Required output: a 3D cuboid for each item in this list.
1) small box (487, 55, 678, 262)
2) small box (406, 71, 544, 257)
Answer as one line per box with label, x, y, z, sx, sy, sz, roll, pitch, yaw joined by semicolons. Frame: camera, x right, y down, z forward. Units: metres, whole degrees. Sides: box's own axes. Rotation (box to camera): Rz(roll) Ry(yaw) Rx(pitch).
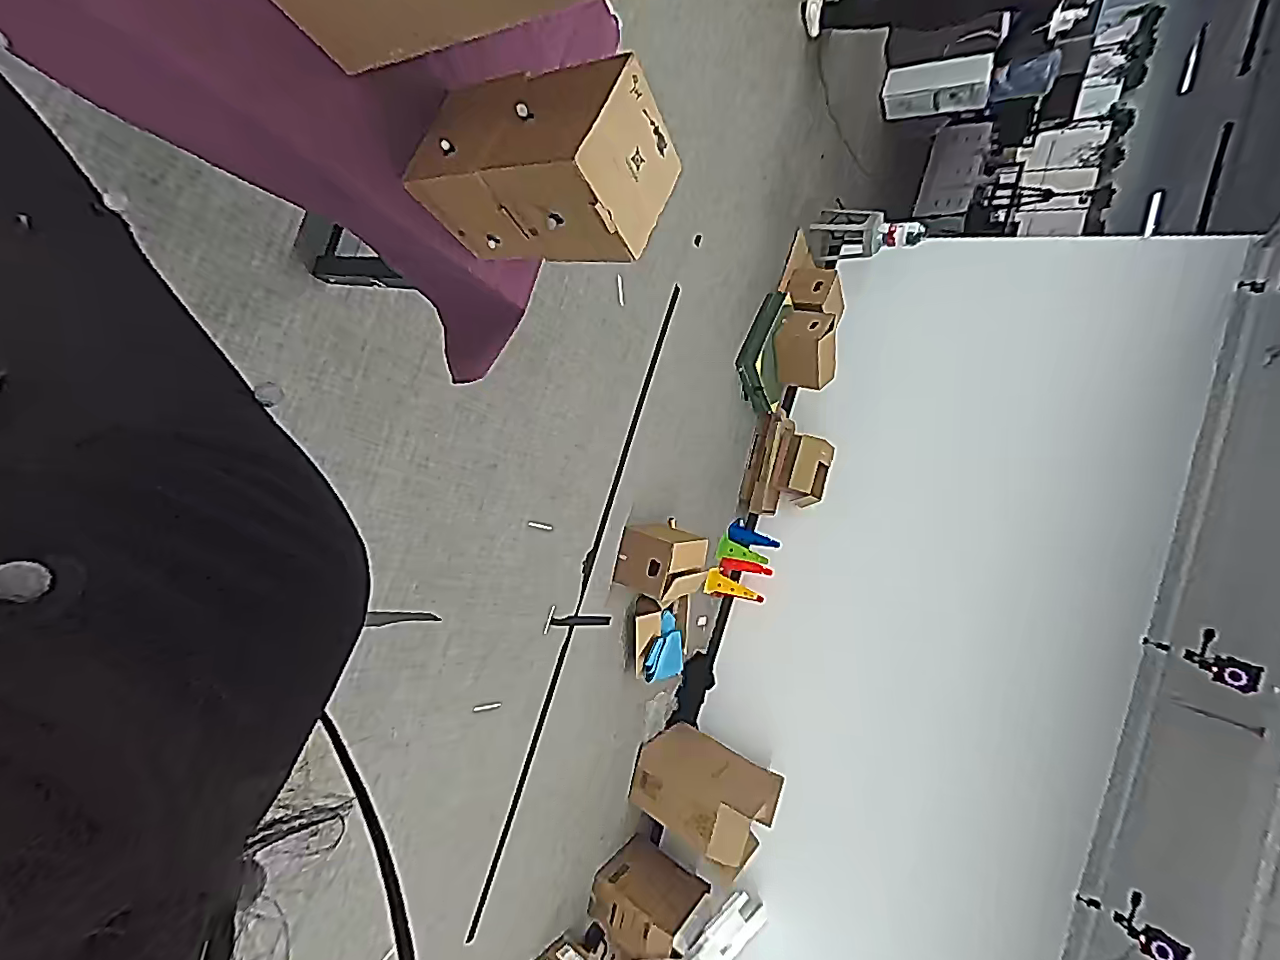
small box;-0.079;-0.424;0.739;0.168;0.176;0.179;45;66;-55
small box;-0.218;-0.461;0.817;0.168;0.176;0.179;39;69;-57
